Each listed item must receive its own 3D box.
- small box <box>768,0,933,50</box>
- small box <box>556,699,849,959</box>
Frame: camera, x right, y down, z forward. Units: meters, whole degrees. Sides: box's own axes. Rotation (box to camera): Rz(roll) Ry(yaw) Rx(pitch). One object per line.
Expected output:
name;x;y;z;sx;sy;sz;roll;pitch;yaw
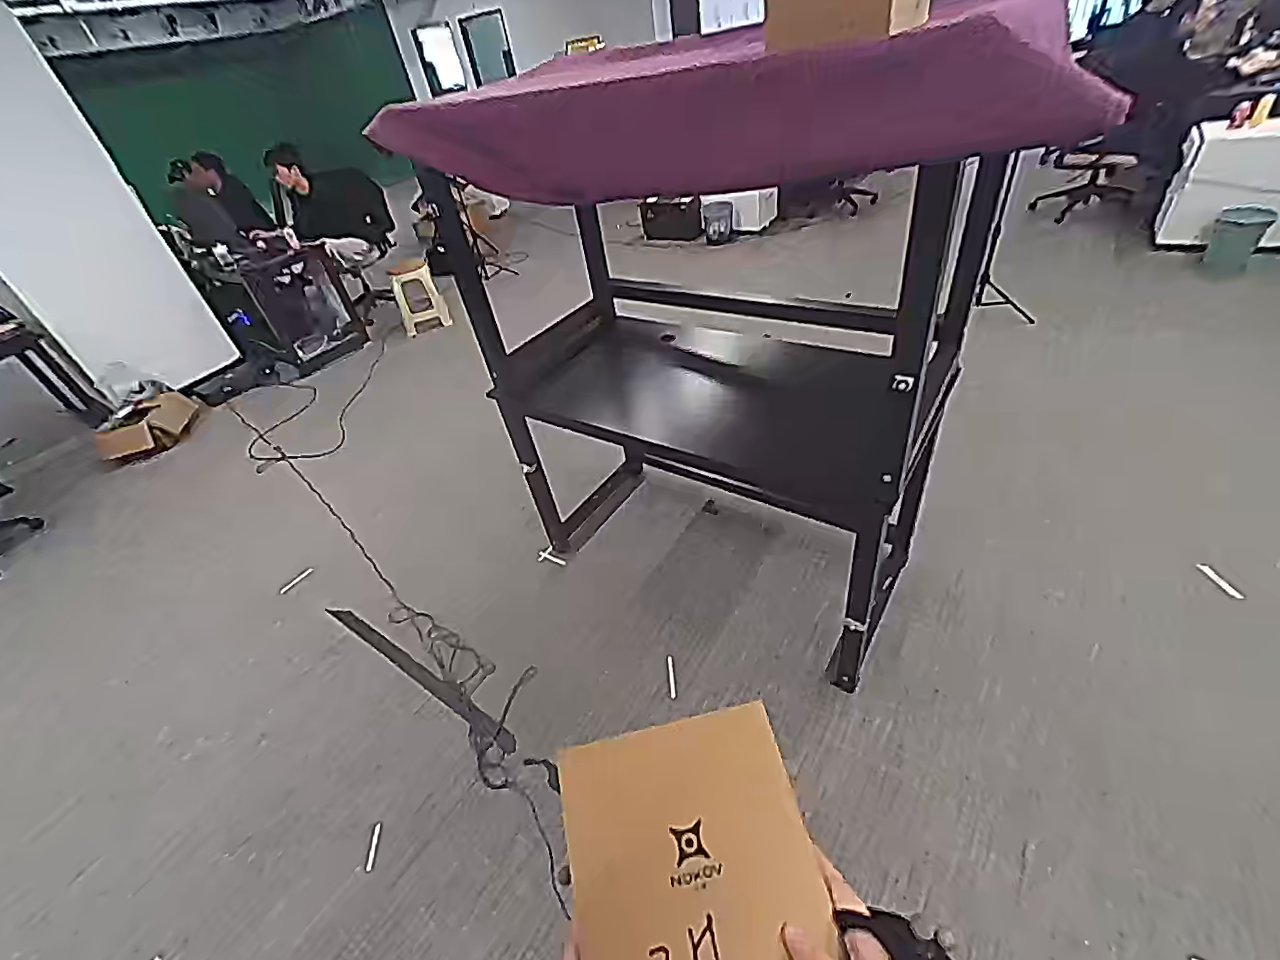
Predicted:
small box;0.280;-0.686;0.703;0.179;0.176;0.168;20;48;34
small box;0.036;0.298;0.421;0.168;0.176;0.179;-12;54;-5
